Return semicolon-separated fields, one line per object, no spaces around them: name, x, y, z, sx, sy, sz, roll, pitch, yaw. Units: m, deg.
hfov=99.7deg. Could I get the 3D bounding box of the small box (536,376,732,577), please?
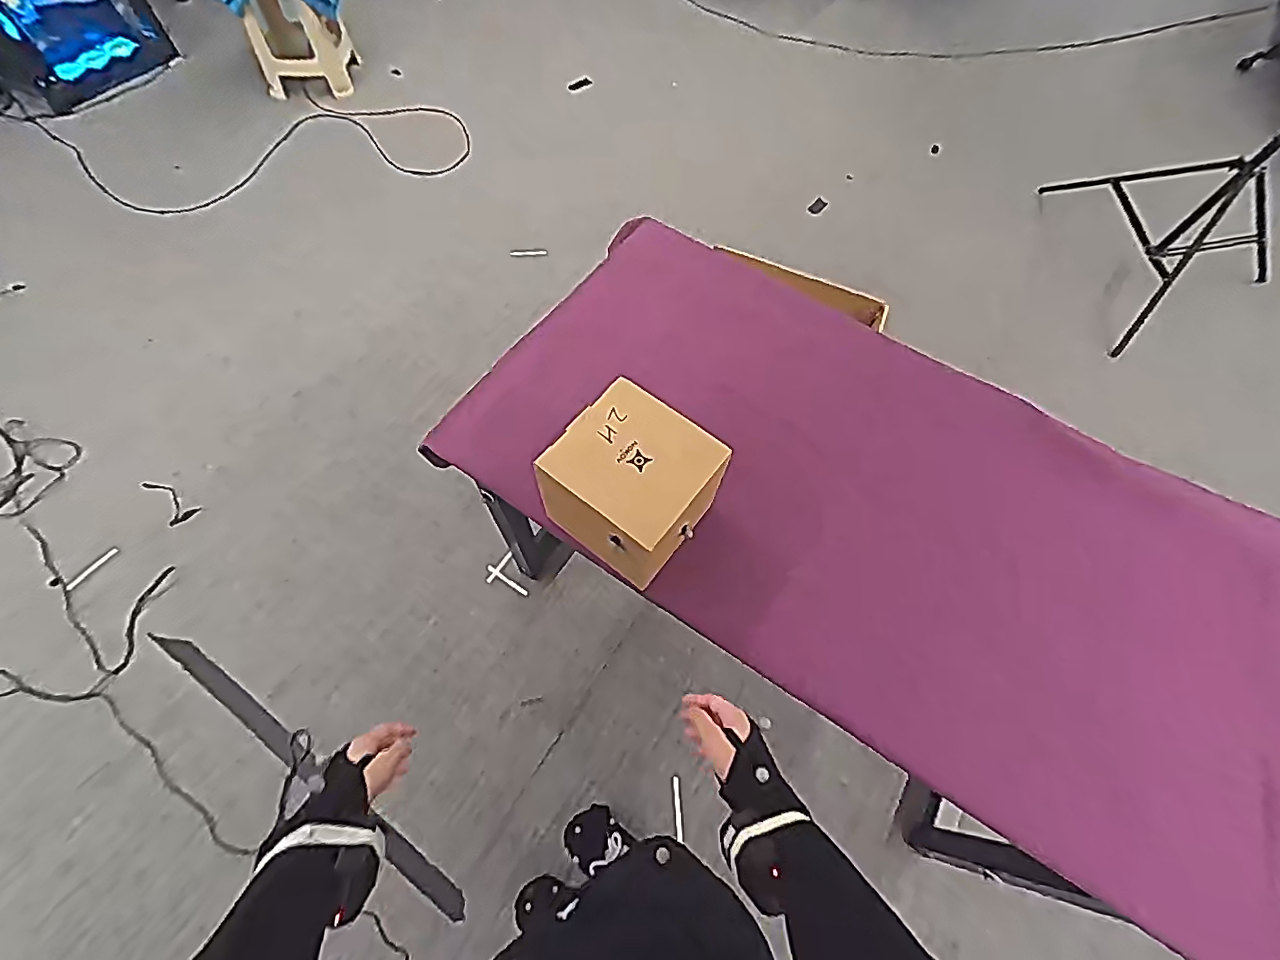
small box;-0.009;0.007;0.706;0.179;0.176;0.168;36;67;14
